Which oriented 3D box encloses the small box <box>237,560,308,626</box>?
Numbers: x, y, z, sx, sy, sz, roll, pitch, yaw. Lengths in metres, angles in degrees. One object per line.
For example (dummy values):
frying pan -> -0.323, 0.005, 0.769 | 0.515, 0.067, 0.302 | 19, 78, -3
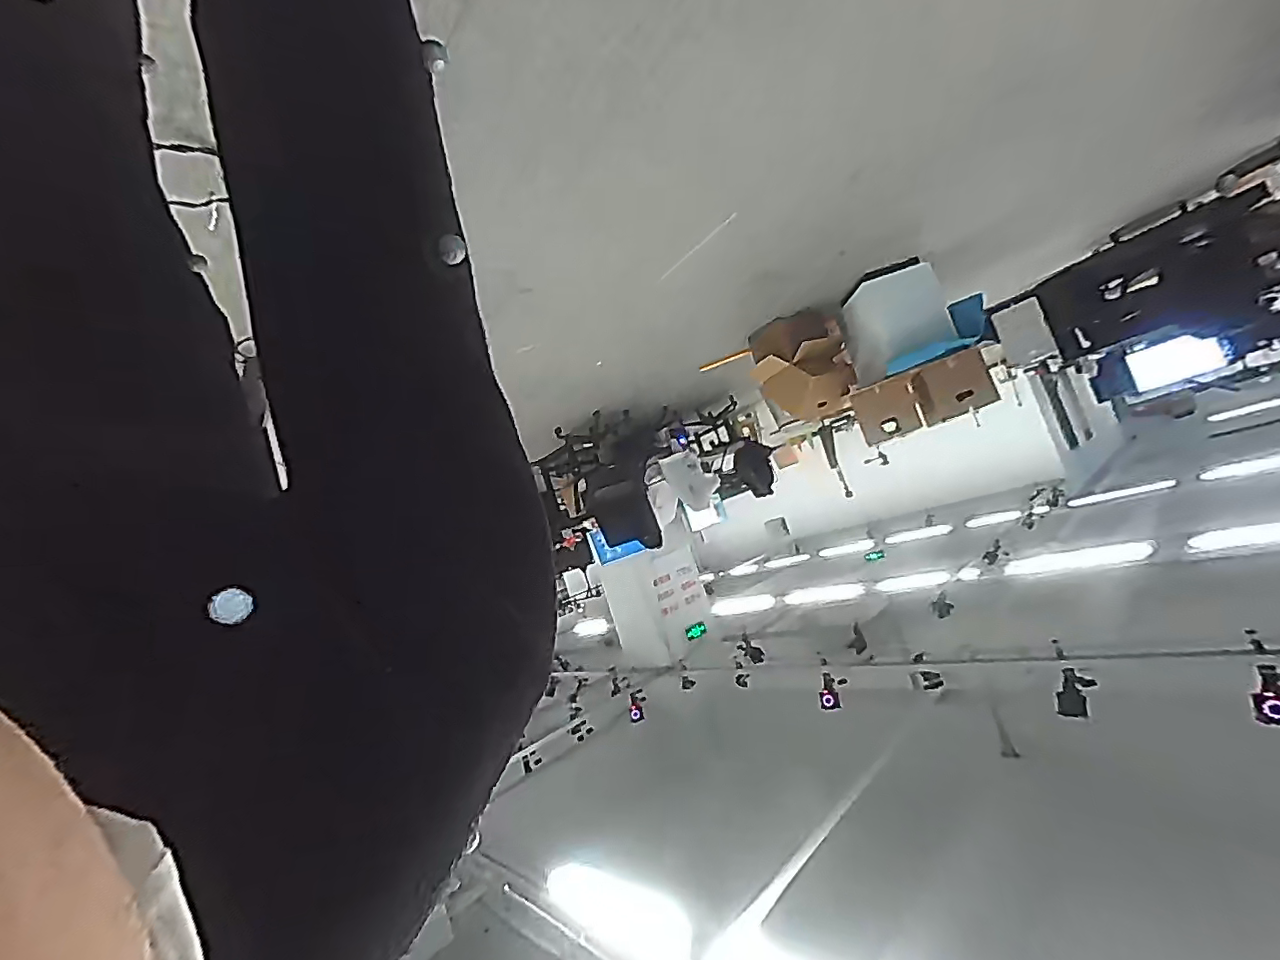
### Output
small box -> -1.229, 0.374, 1.804 | 0.168, 0.176, 0.179 | -14, 176, -38
